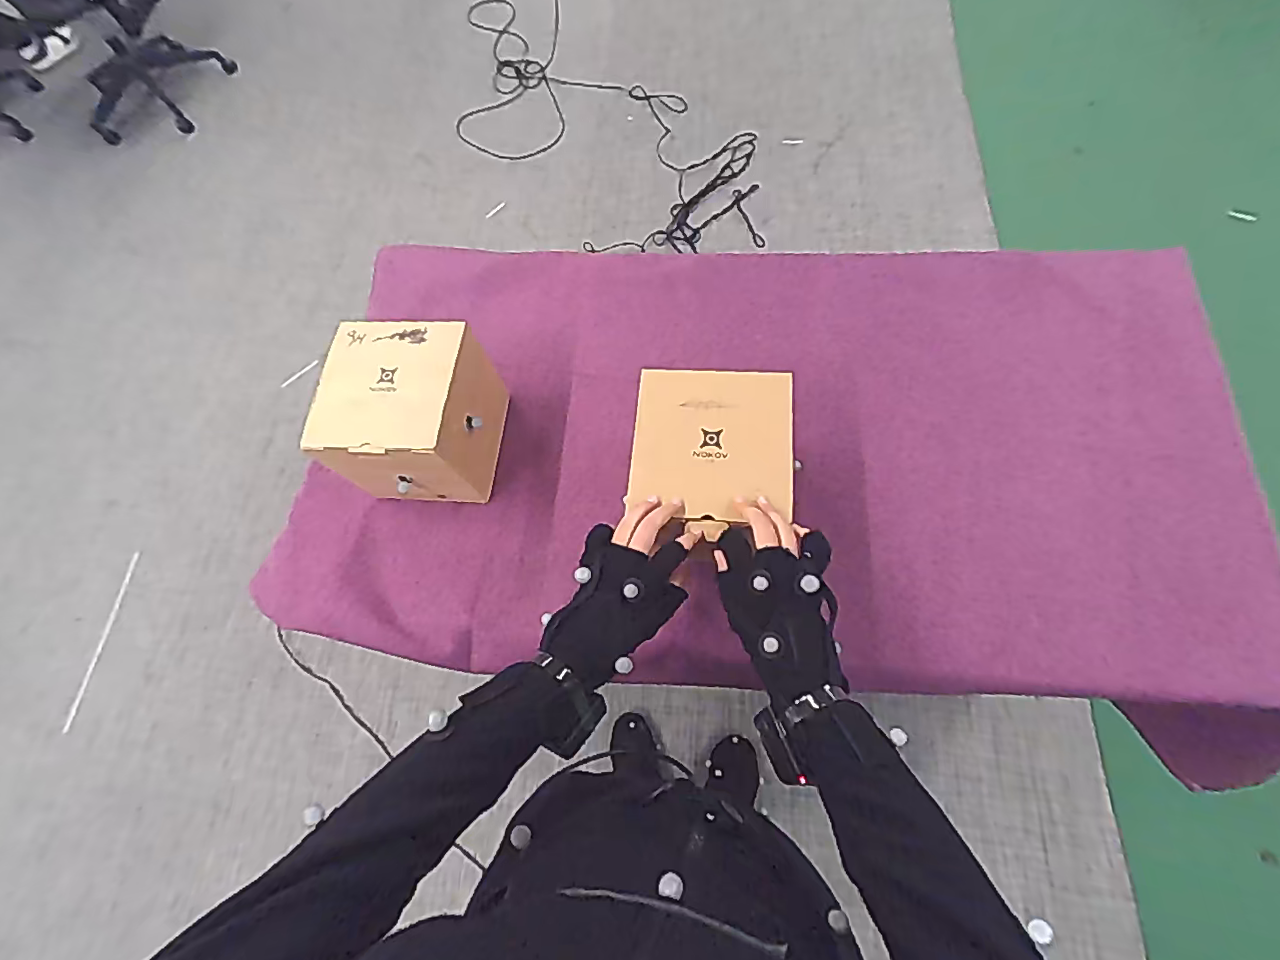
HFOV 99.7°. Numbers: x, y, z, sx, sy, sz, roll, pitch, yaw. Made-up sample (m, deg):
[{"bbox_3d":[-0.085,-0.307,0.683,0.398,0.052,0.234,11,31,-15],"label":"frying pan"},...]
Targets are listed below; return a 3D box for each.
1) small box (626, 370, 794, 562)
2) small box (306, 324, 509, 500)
[{"bbox_3d":[0.084,-0.008,0.634,0.168,0.176,0.179,3,68,7],"label":"small box"},{"bbox_3d":[-0.284,-0.081,0.705,0.168,0.176,0.179,2,69,7],"label":"small box"}]
